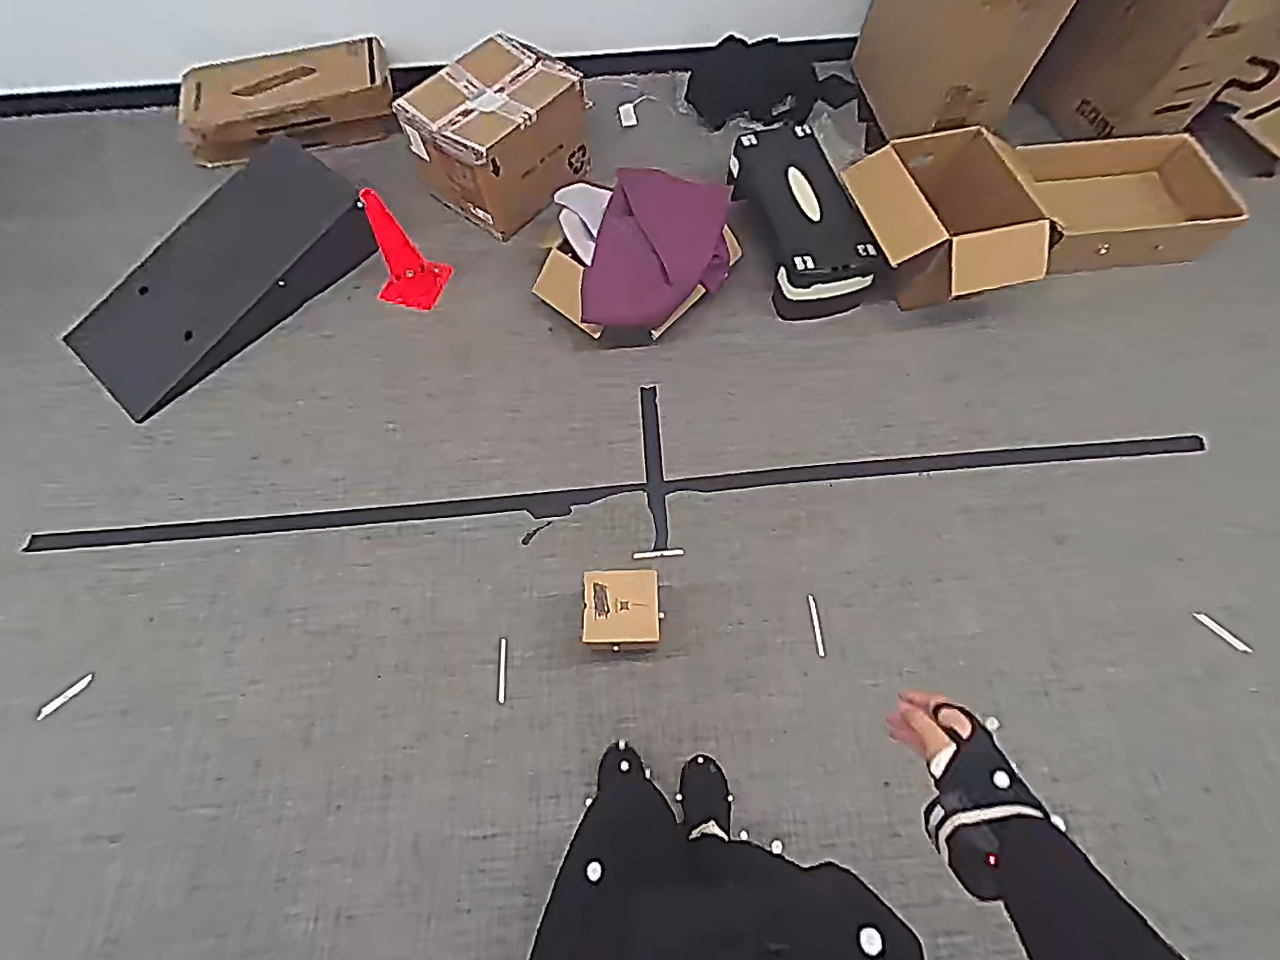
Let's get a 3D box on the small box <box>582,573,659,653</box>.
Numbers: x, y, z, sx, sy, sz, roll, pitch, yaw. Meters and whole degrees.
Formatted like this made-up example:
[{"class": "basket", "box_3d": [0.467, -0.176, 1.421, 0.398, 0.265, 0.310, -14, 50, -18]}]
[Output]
[{"class": "small box", "box_3d": [-0.042, 0.327, 1.318, 0.179, 0.176, 0.168, -1, 67, 0]}]
